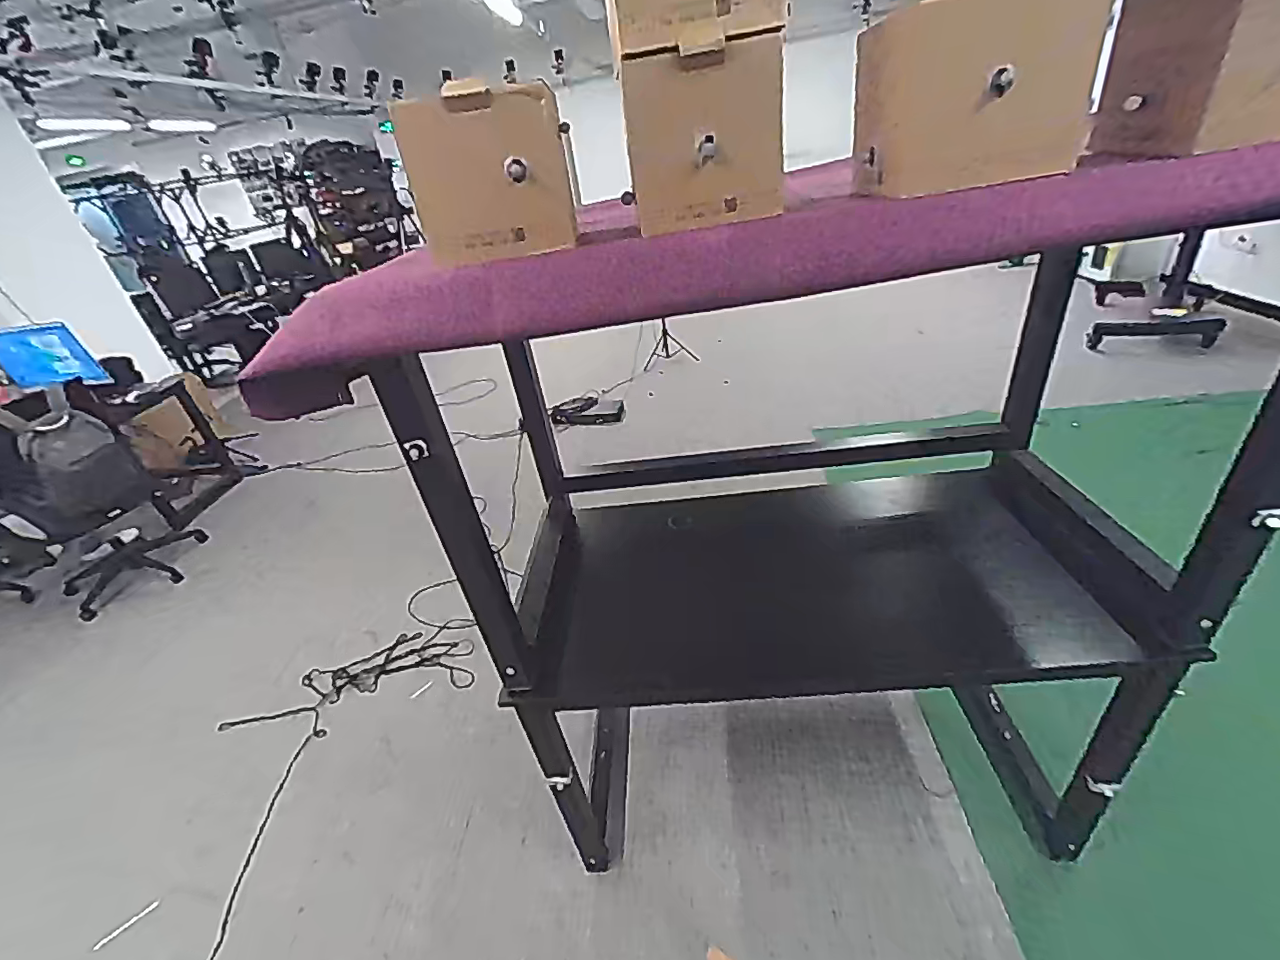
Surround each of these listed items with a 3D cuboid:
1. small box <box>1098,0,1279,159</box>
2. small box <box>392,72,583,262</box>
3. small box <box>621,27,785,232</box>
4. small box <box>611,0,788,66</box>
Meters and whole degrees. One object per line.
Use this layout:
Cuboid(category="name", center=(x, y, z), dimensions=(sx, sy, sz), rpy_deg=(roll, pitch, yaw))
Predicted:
Cuboid(category="small box", center=(0.626, -0.442, 0.549), dimensions=(0.179, 0.176, 0.168), rpy_deg=(-7, 32, 8))
Cuboid(category="small box", center=(-0.166, -0.372, 0.660), dimensions=(0.168, 0.176, 0.179), rpy_deg=(-7, 30, 1))
Cuboid(category="small box", center=(0.072, -0.401, 0.641), dimensions=(0.168, 0.176, 0.179), rpy_deg=(-7, 31, 3))
Cuboid(category="small box", center=(0.049, -0.537, 0.555), dimensions=(0.168, 0.176, 0.179), rpy_deg=(-9, 29, 2))
